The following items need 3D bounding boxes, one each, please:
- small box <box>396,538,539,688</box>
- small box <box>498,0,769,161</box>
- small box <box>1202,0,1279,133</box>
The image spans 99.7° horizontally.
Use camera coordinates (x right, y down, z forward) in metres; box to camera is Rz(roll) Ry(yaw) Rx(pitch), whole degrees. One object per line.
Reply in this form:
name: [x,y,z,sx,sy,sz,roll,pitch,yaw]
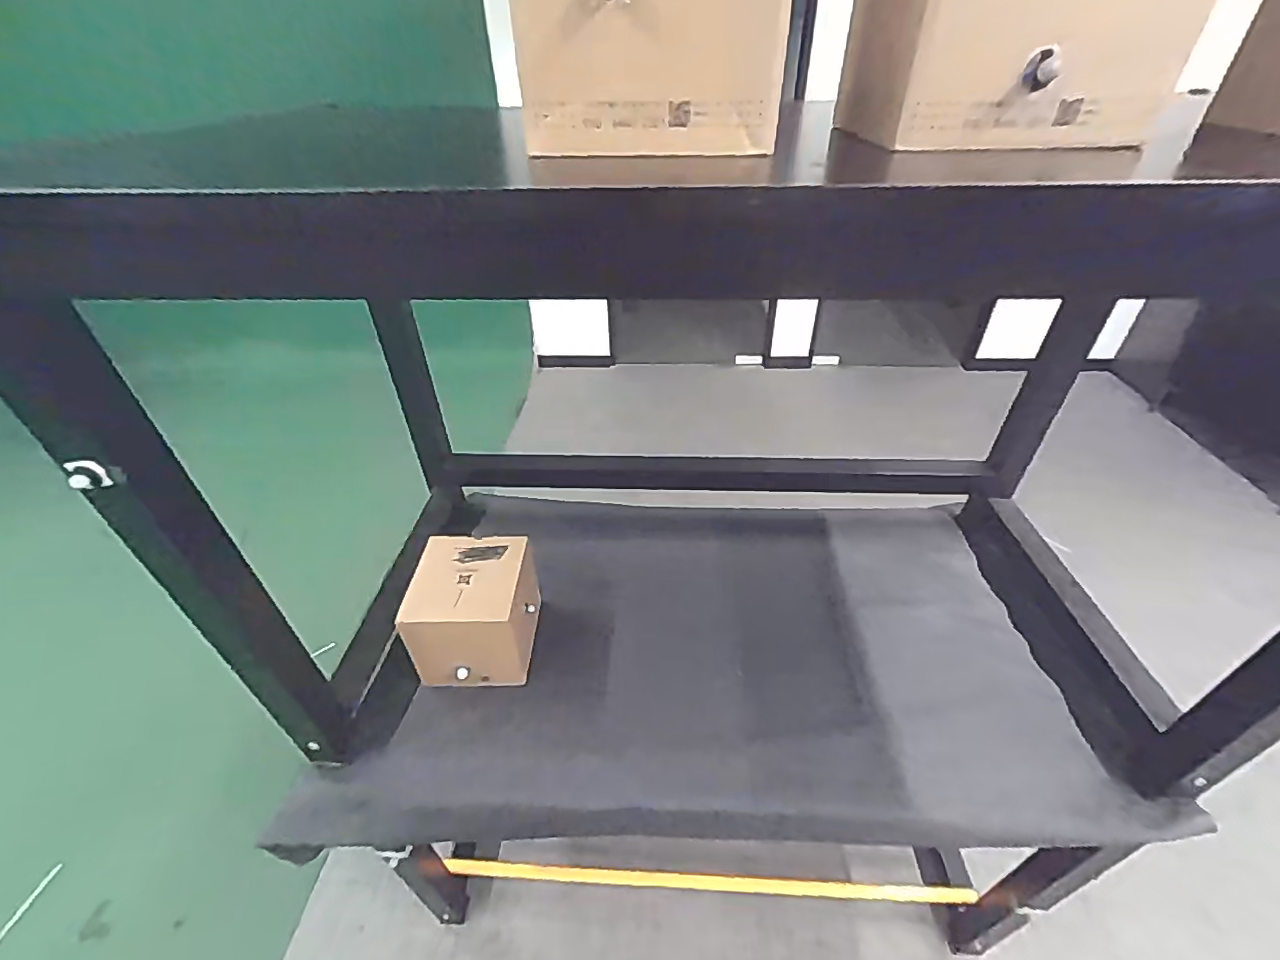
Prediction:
small box: [-0.265,0.213,0.880,0.168,0.176,0.179,-1,38,1]
small box: [0.003,-0.331,0.382,0.168,0.176,0.179,2,37,5]
small box: [0.515,-0.306,0.319,0.168,0.176,0.179,7,38,11]
